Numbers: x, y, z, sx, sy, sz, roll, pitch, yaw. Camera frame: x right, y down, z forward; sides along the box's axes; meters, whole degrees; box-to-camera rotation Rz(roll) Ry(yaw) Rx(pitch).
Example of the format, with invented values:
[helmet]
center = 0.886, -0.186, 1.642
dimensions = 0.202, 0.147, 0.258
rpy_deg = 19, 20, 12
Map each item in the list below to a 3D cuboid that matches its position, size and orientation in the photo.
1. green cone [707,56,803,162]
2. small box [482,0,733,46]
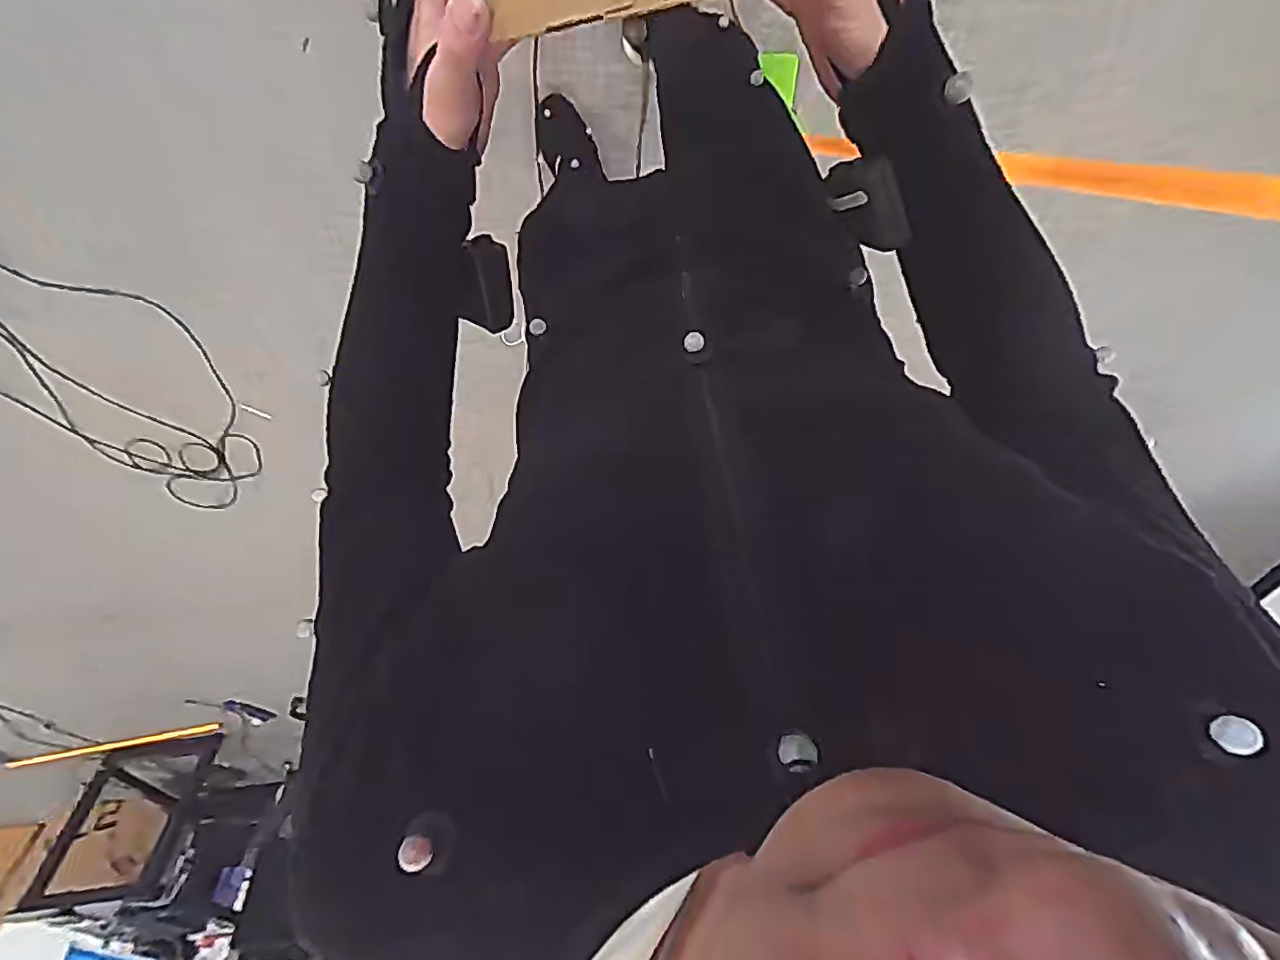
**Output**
[green cone]
center = 0.271, -0.734, 1.118
dimensions = 0.202, 0.368, 0.200
rpy_deg = -4, 132, -3
[small box]
center = -0.014, -0.348, 0.274
dimensions = 0.168, 0.176, 0.179
rpy_deg = -10, 132, 3
